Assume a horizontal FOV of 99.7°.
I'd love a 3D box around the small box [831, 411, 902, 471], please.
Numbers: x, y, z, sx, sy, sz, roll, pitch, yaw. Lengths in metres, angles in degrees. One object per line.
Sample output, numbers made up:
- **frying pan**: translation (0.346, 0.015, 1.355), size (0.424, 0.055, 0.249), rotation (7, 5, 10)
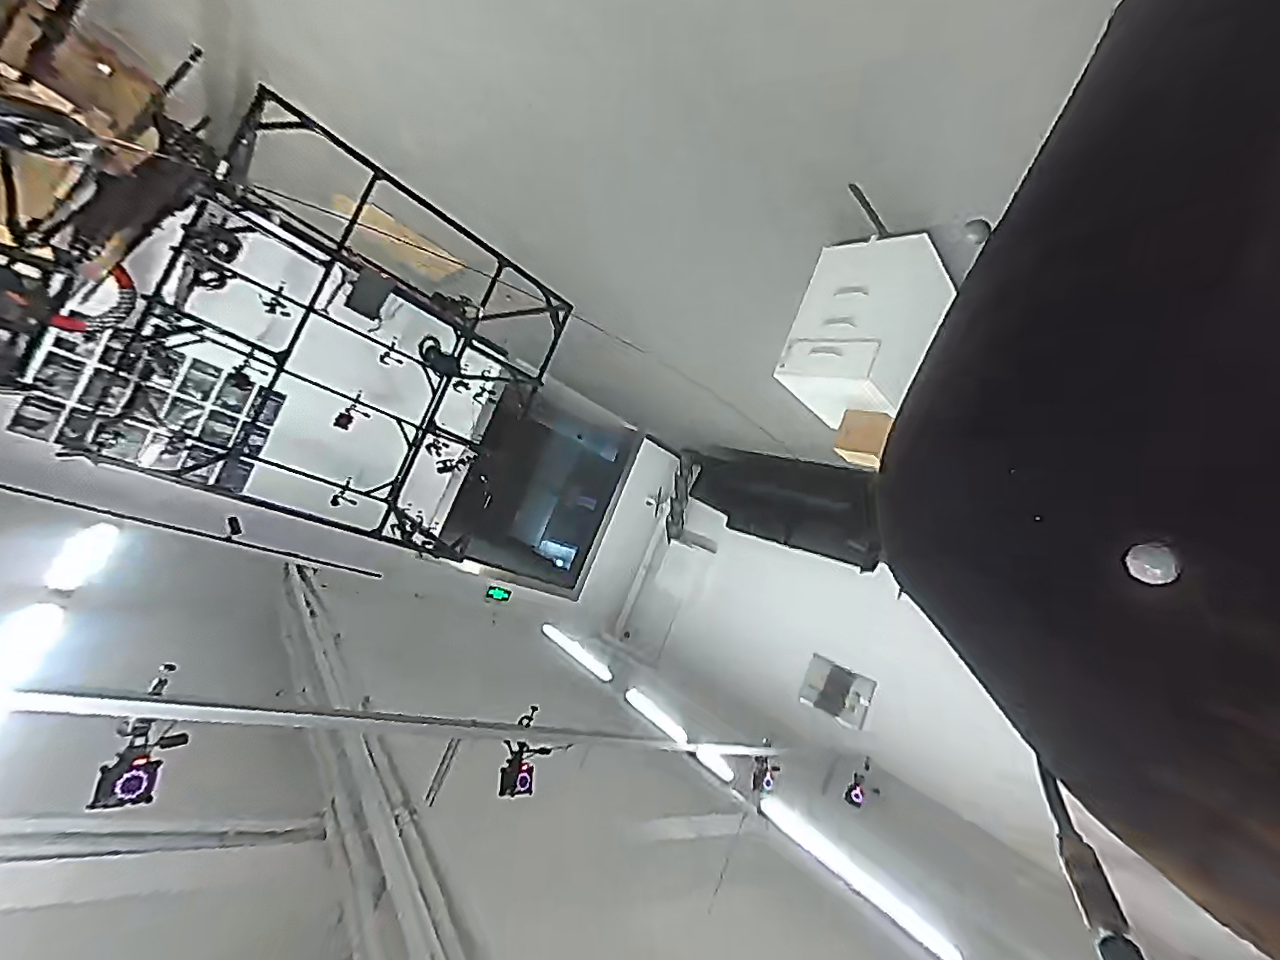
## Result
- **small box**: translation (0.878, -0.154, 2.087), size (0.168, 0.176, 0.179), rotation (26, 174, -42)
